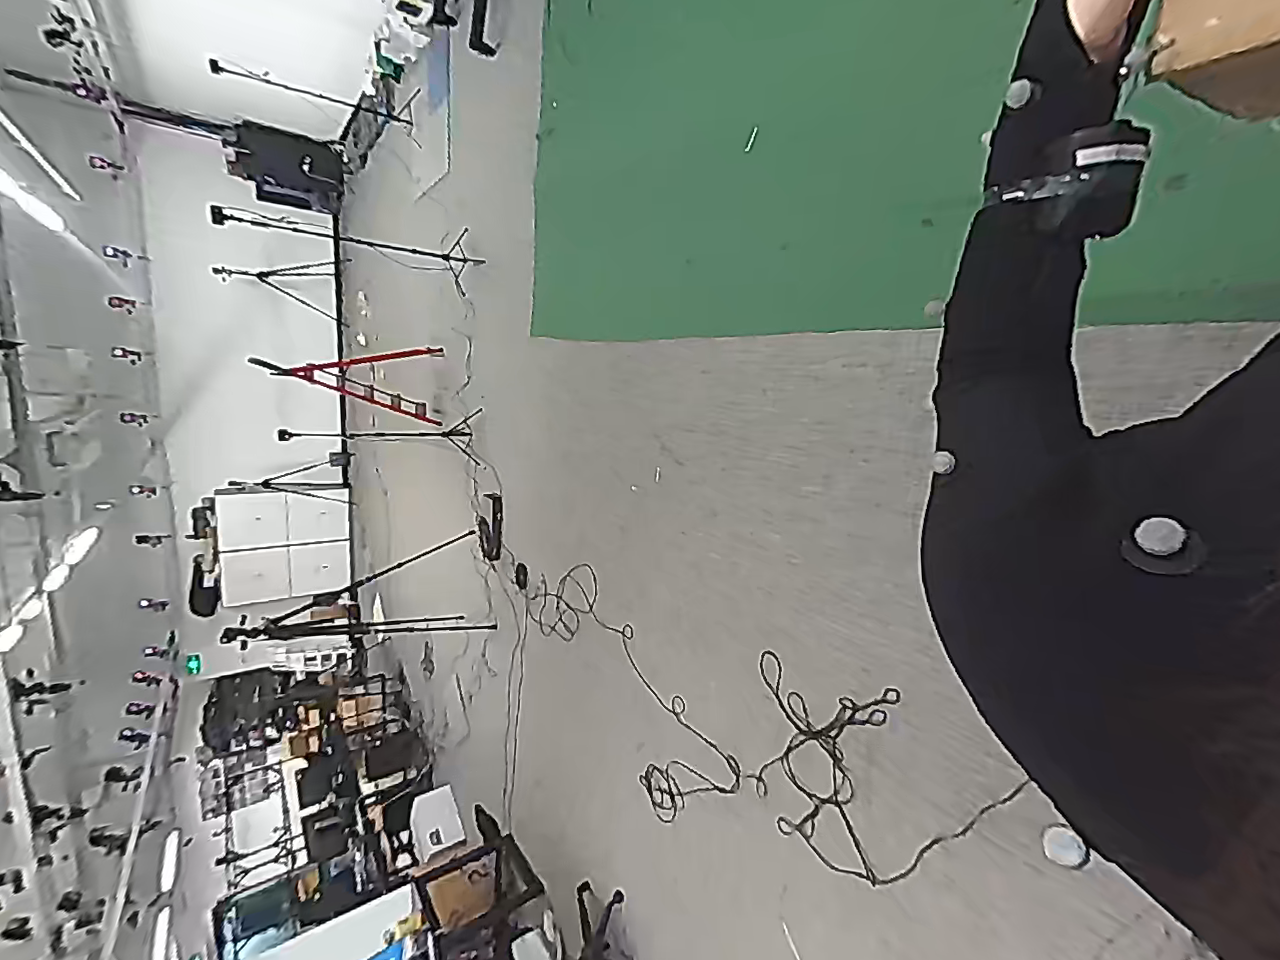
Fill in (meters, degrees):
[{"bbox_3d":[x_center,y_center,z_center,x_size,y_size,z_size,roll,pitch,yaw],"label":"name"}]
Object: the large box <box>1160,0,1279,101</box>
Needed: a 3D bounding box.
[{"bbox_3d":[0.551,-0.416,0.224,0.408,0.320,0.320,18,120,53],"label":"large box"}]
